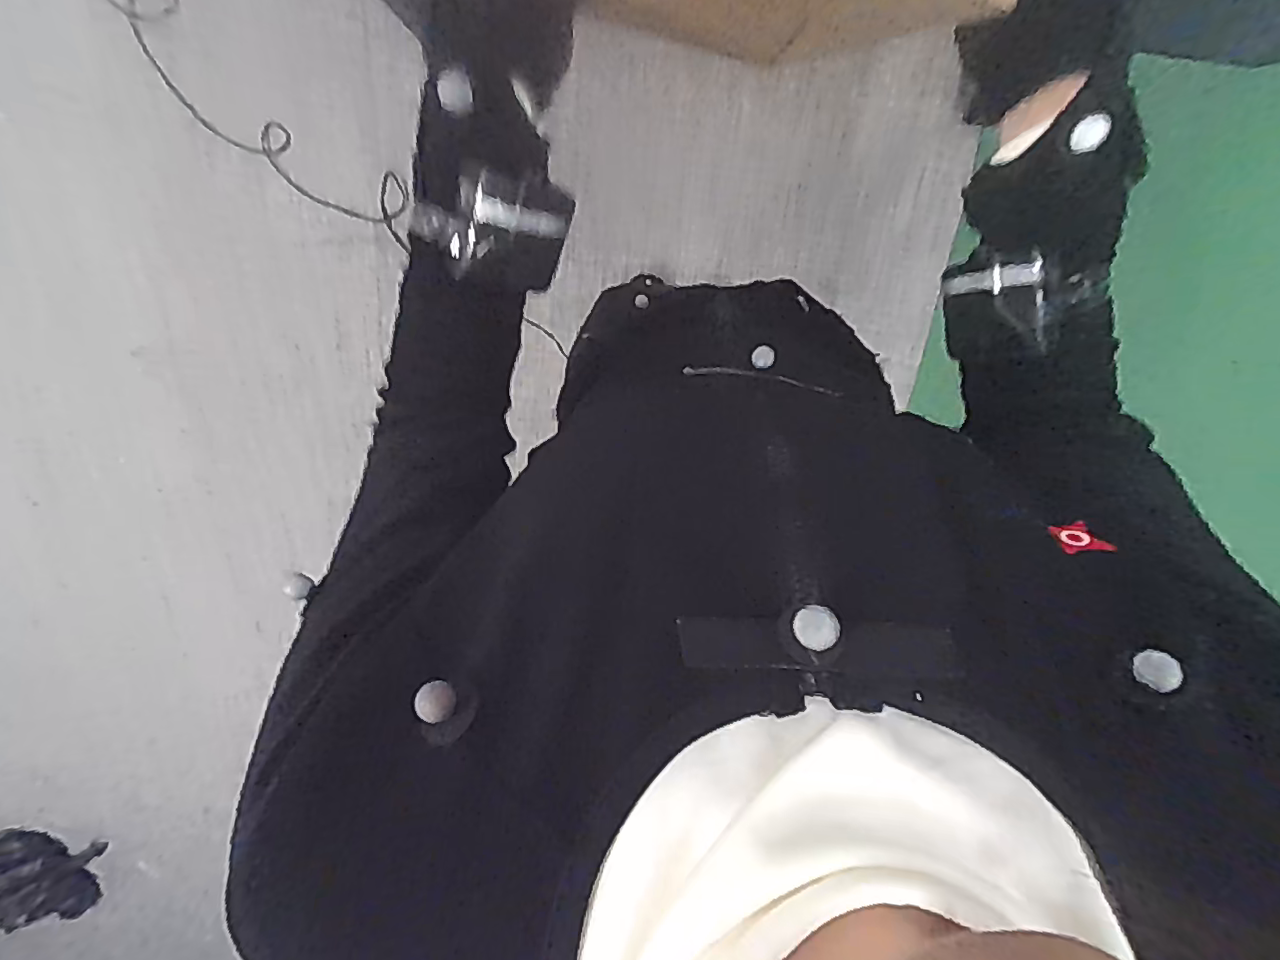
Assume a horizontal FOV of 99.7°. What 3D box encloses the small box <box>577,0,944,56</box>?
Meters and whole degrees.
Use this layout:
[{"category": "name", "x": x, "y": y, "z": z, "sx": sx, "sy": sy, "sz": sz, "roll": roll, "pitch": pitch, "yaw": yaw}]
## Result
[{"category": "small box", "x": 0.075, "y": -0.337, "z": 0.264, "sx": 0.168, "sy": 0.179, "sz": 0.176, "roll": -11, "pitch": 117, "yaw": -31}]
